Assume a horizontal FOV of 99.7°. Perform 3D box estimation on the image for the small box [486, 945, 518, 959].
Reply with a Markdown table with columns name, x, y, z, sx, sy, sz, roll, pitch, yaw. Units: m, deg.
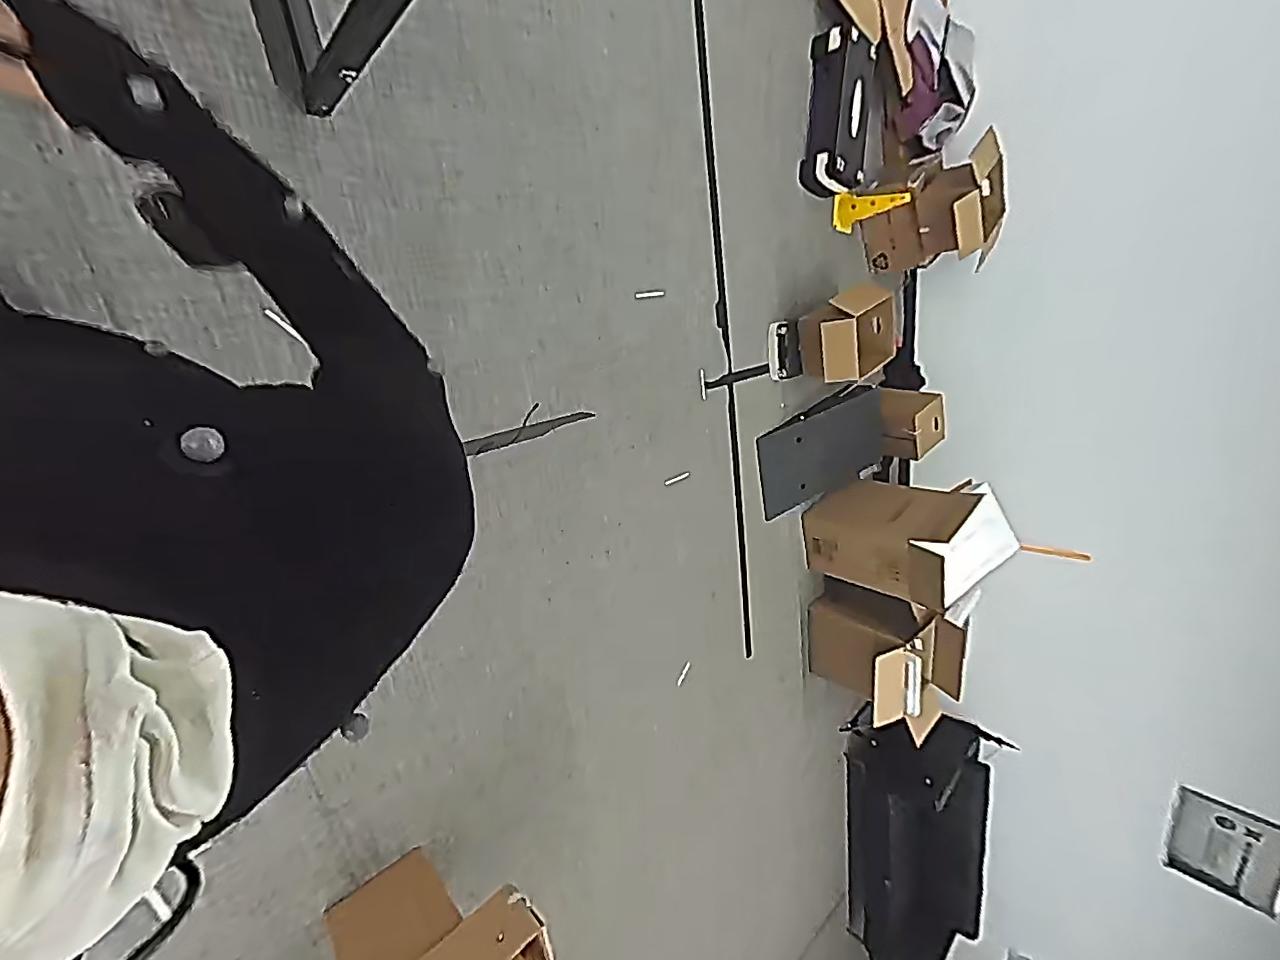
| name | x | y | z | sx | sy | sz | roll | pitch | yaw |
| --- | --- | --- | --- | --- | --- | --- | --- | --- | --- |
| small box | -0.399 | 1.516 | 1.561 | 0.168 | 0.176 | 0.179 | -24 | 114 | -39 |
